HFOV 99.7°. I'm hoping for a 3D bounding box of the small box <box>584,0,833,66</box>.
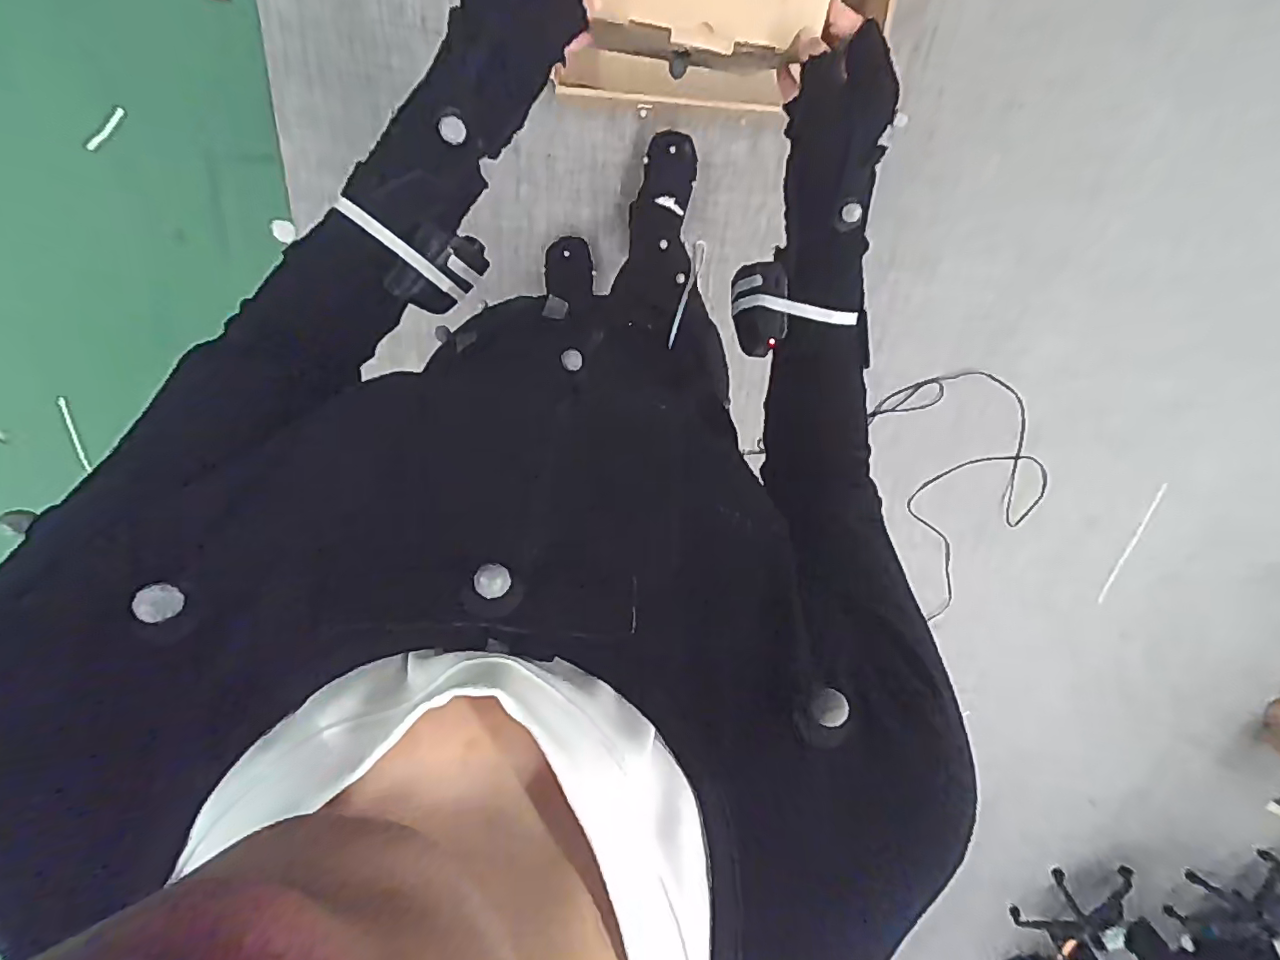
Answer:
[{"bbox_3d":[0.050,-0.416,0.383,0.168,0.176,0.179,3,124,-10],"label":"small box"}]
